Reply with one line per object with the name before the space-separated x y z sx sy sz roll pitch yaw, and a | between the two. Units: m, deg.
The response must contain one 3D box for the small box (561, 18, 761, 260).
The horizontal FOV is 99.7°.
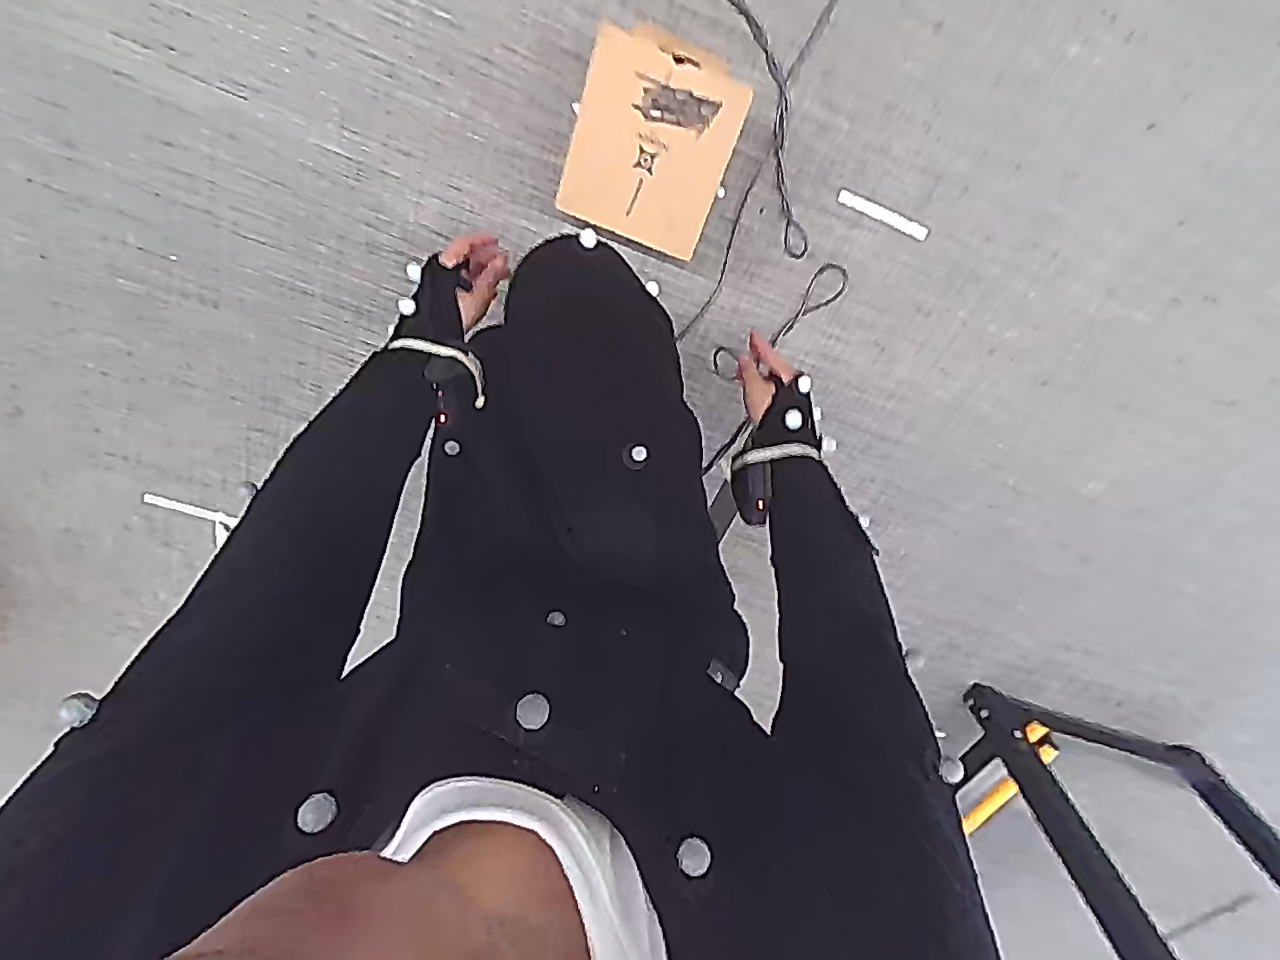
small box | 0.020 -0.386 0.639 0.168 0.176 0.179 19 118 -8
